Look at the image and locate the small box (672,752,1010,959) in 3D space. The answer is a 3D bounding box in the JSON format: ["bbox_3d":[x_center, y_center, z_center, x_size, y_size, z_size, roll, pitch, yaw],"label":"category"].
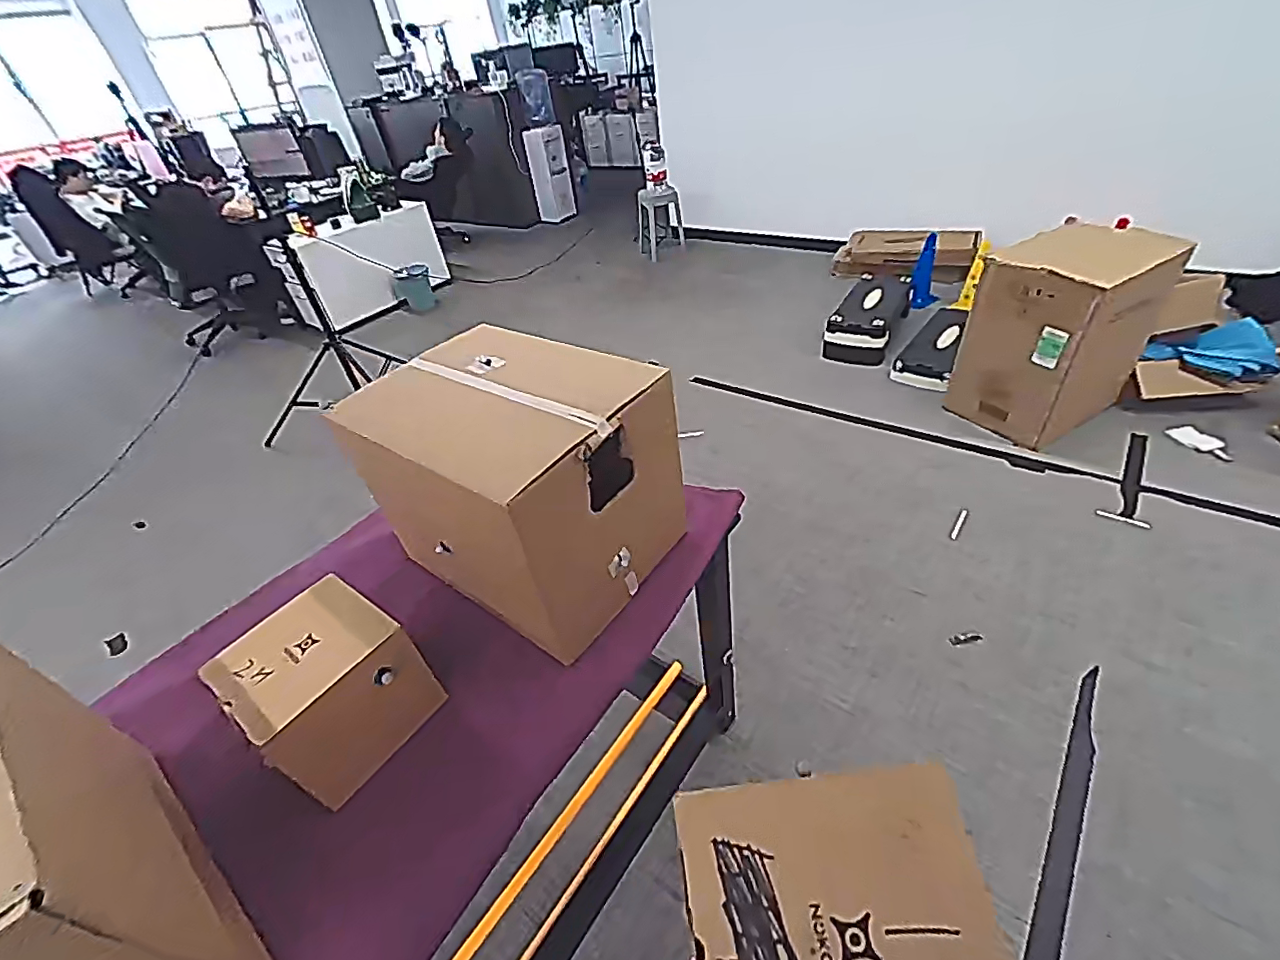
[{"bbox_3d":[0.128,0.300,0.376,0.179,0.176,0.168,-10,56,5],"label":"small box"}]

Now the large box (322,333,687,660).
[{"bbox_3d":[-0.183,0.001,0.841,0.408,0.320,0.320,20,47,32],"label":"large box"}]
